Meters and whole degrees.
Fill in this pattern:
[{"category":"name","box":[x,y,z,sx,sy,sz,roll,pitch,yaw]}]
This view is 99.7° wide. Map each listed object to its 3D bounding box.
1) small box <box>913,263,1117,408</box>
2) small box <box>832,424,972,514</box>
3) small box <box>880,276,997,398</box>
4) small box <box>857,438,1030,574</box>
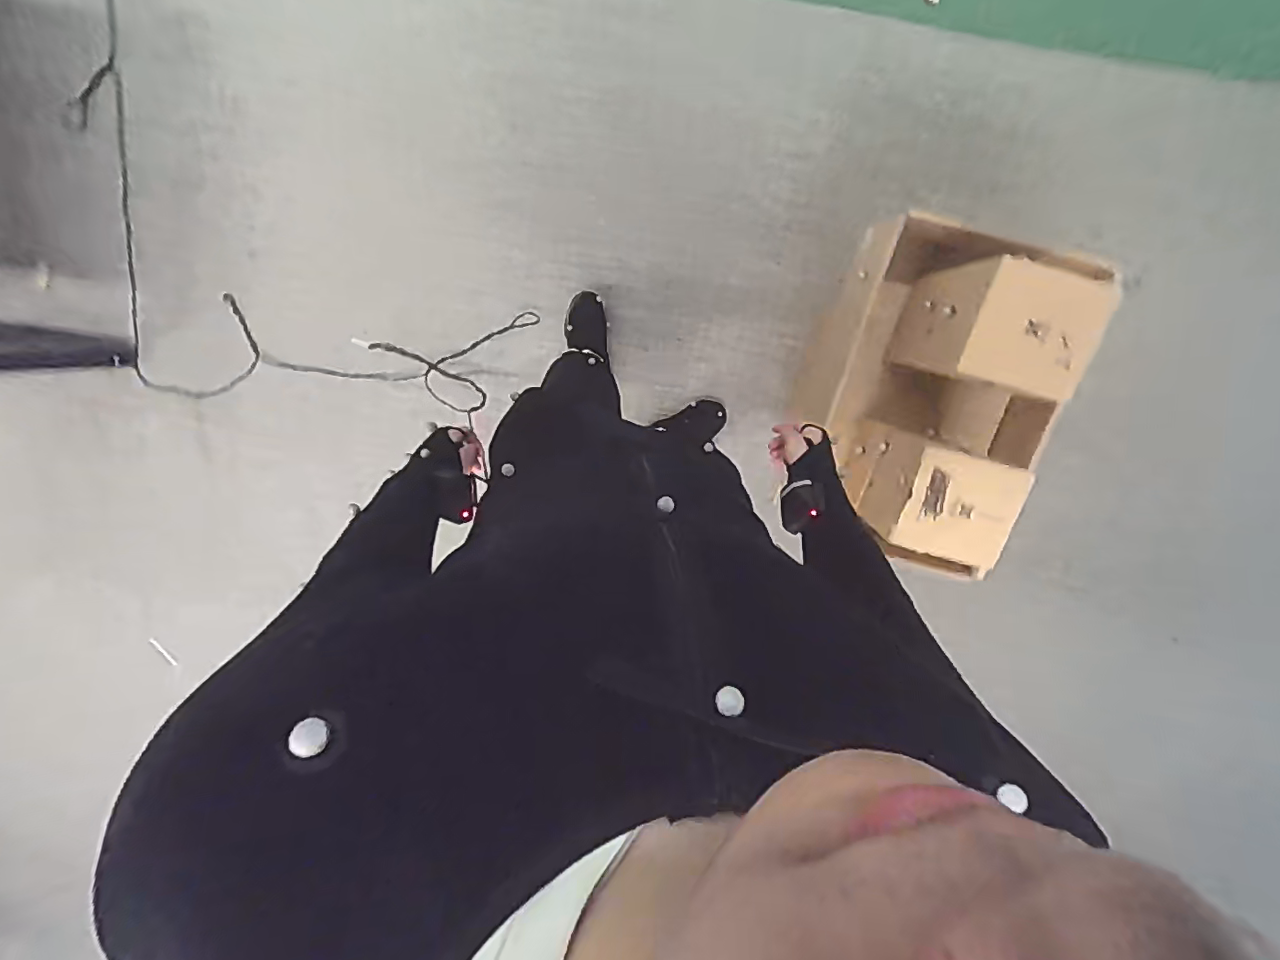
[{"category":"small box","box":[0.568,-0.224,0.852,0.179,0.176,0.168,17,106,0]},{"category":"small box","box":[0.510,-0.008,1.083,0.179,0.176,0.168,16,105,0]},{"category":"small box","box":[0.588,-0.265,1.010,0.179,0.176,0.168,18,103,-1]},{"category":"small box","box":[0.499,0.034,0.924,0.179,0.176,0.168,16,105,-1]}]
